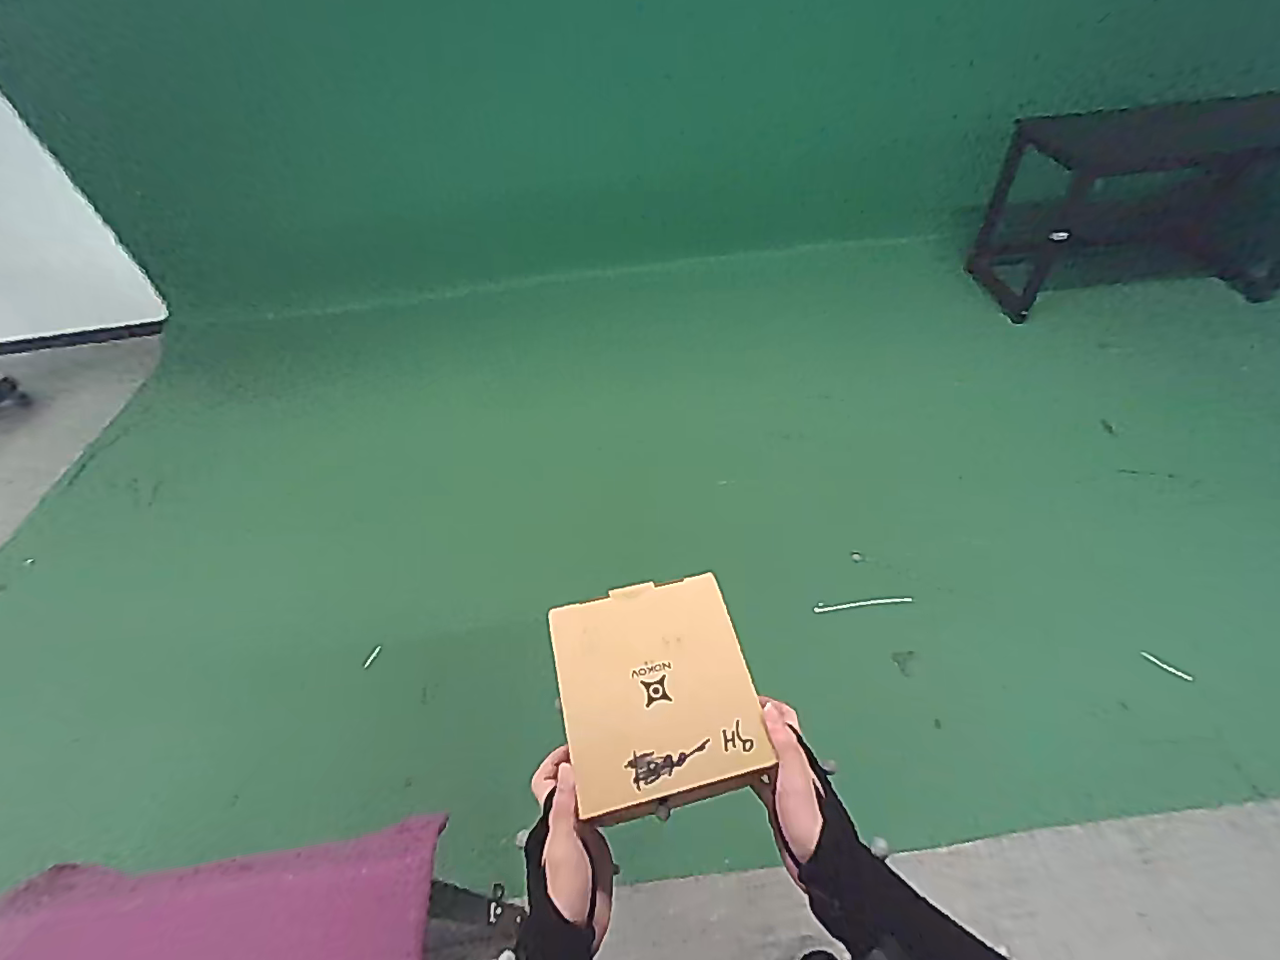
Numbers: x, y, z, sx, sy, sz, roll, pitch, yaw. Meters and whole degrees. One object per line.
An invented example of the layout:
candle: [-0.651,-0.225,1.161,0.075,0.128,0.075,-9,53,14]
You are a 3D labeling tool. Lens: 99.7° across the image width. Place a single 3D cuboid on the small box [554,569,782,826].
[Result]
small box: [0.016,0.215,0.529,0.168,0.176,0.179,-11,55,-7]
